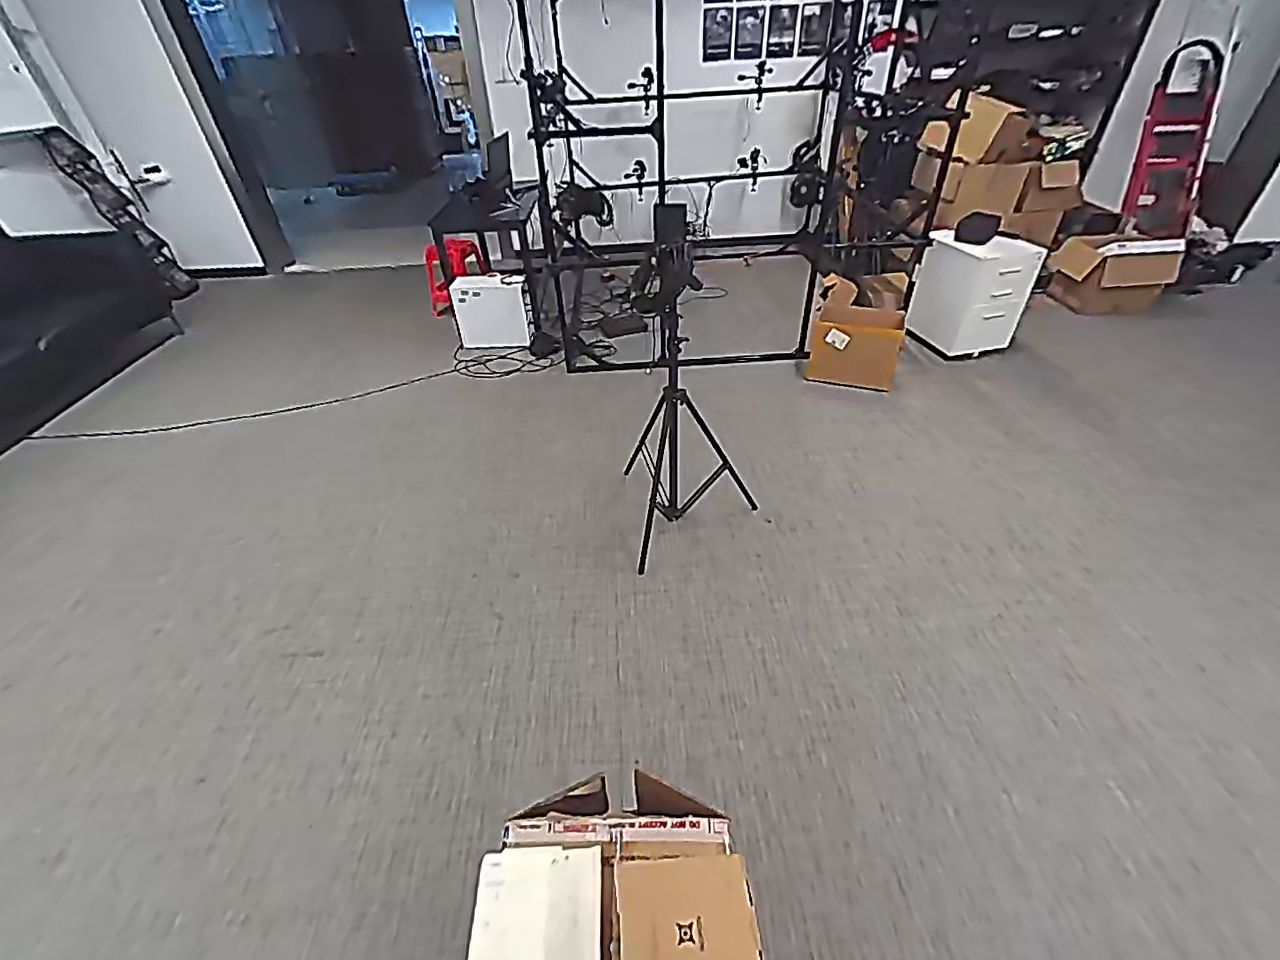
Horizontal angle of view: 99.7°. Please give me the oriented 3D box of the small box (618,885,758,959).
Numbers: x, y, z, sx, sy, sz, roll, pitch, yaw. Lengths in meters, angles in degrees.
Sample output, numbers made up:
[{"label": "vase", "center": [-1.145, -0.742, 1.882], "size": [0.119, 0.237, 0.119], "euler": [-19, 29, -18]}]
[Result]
[{"label": "small box", "center": [0.062, 0.665, 0.718], "size": [0.179, 0.176, 0.168], "euler": [-4, 40, -3]}]
